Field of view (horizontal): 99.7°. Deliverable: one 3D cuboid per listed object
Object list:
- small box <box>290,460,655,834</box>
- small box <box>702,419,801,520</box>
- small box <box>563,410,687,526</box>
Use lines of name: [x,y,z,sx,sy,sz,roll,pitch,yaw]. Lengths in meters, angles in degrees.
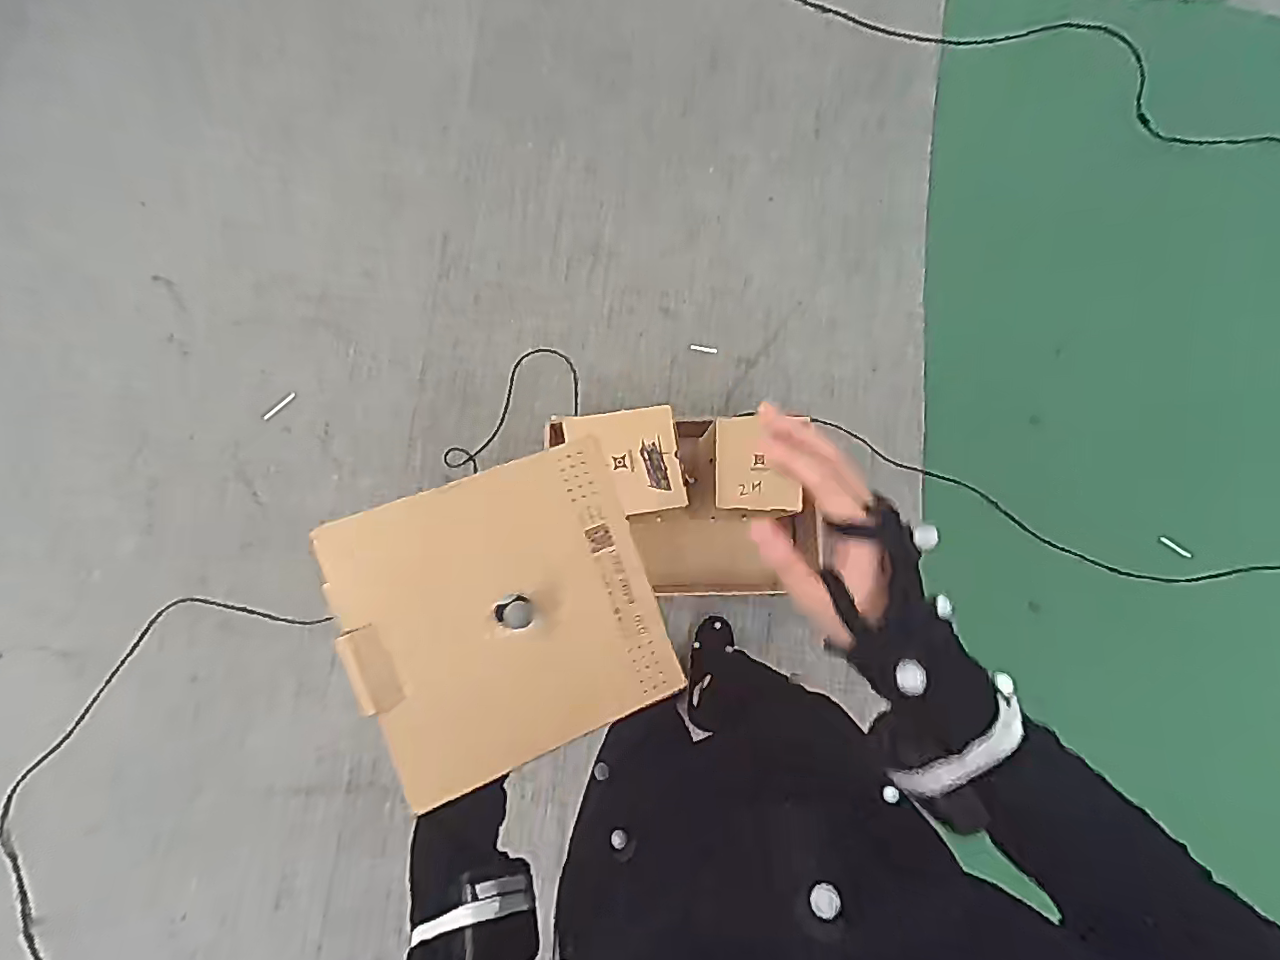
small box: [-0.102,0.092,0.386,0.176,0.179,0.168,-19,90,-14]
small box: [0.218,-0.016,1.096,0.168,0.176,0.179,2,82,-2]
small box: [-0.030,-0.012,0.919,0.179,0.176,0.168,-9,83,-5]
